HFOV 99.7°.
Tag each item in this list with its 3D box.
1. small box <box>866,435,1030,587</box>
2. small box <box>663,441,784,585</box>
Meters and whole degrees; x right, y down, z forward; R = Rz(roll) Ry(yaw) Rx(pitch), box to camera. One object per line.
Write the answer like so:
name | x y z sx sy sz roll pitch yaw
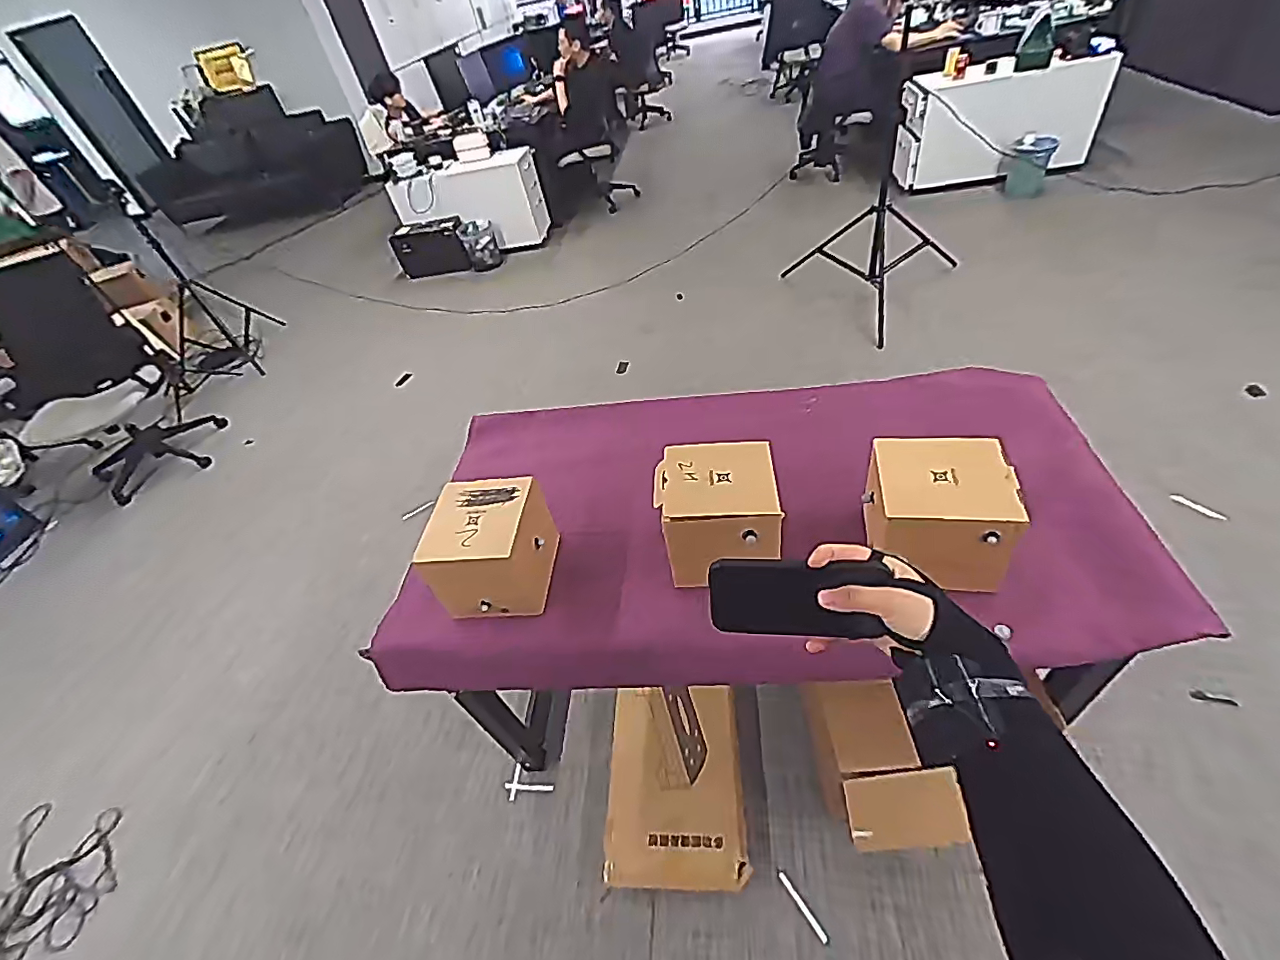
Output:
small box | 0.448 0.049 0.825 0.179 0.176 0.168 0 46 14
small box | 0.137 0.058 0.892 0.179 0.176 0.168 -5 42 9
